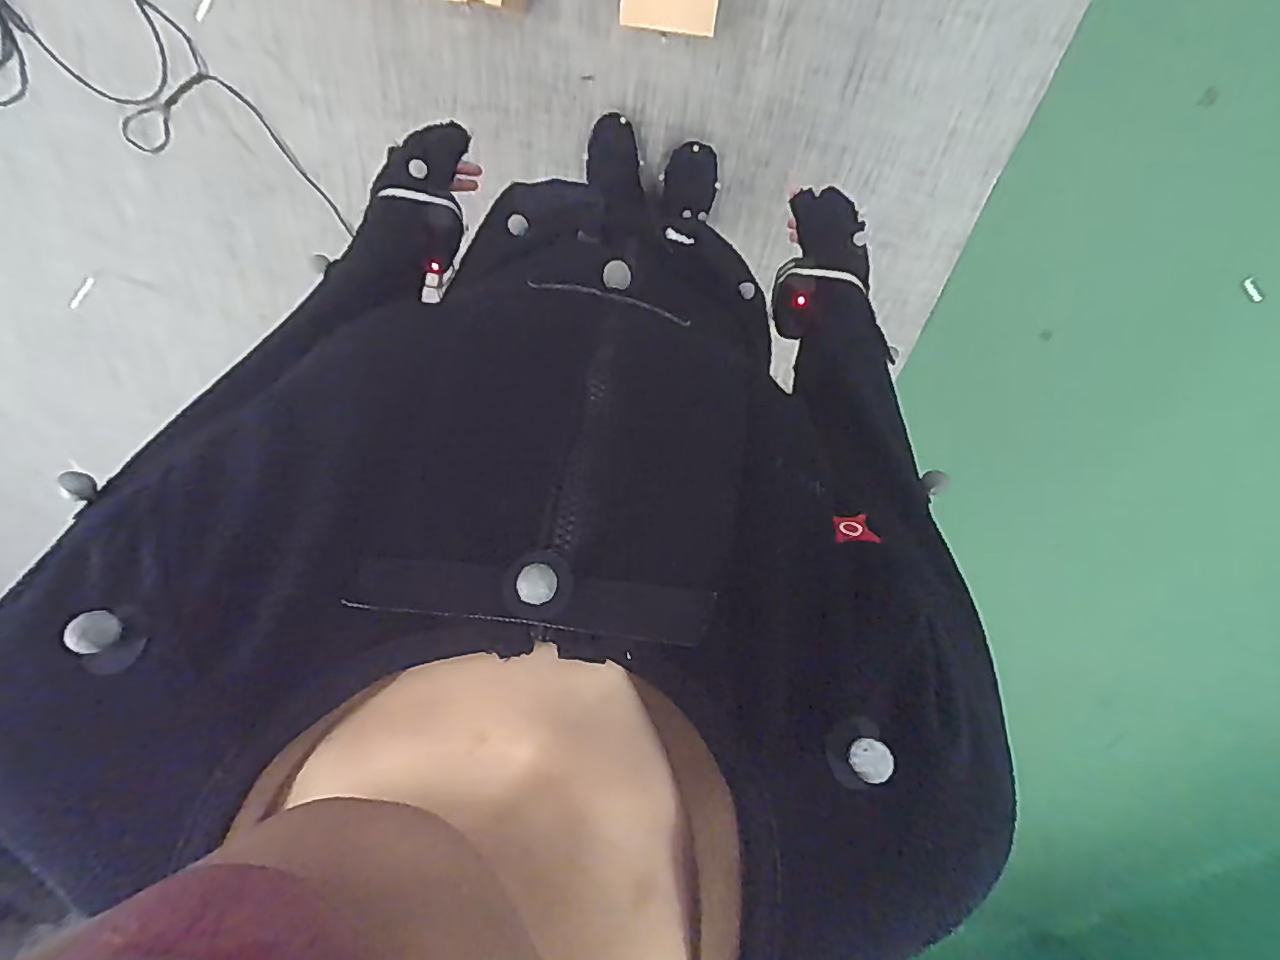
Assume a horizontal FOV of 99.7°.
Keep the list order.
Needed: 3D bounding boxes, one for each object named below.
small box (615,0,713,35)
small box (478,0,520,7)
[{"bbox_3d":[0.053,-0.898,0.941,0.168,0.176,0.179,7,128,-2],"label":"small box"},{"bbox_3d":[-0.303,-0.950,0.932,0.168,0.176,0.179,9,128,-2],"label":"small box"}]
